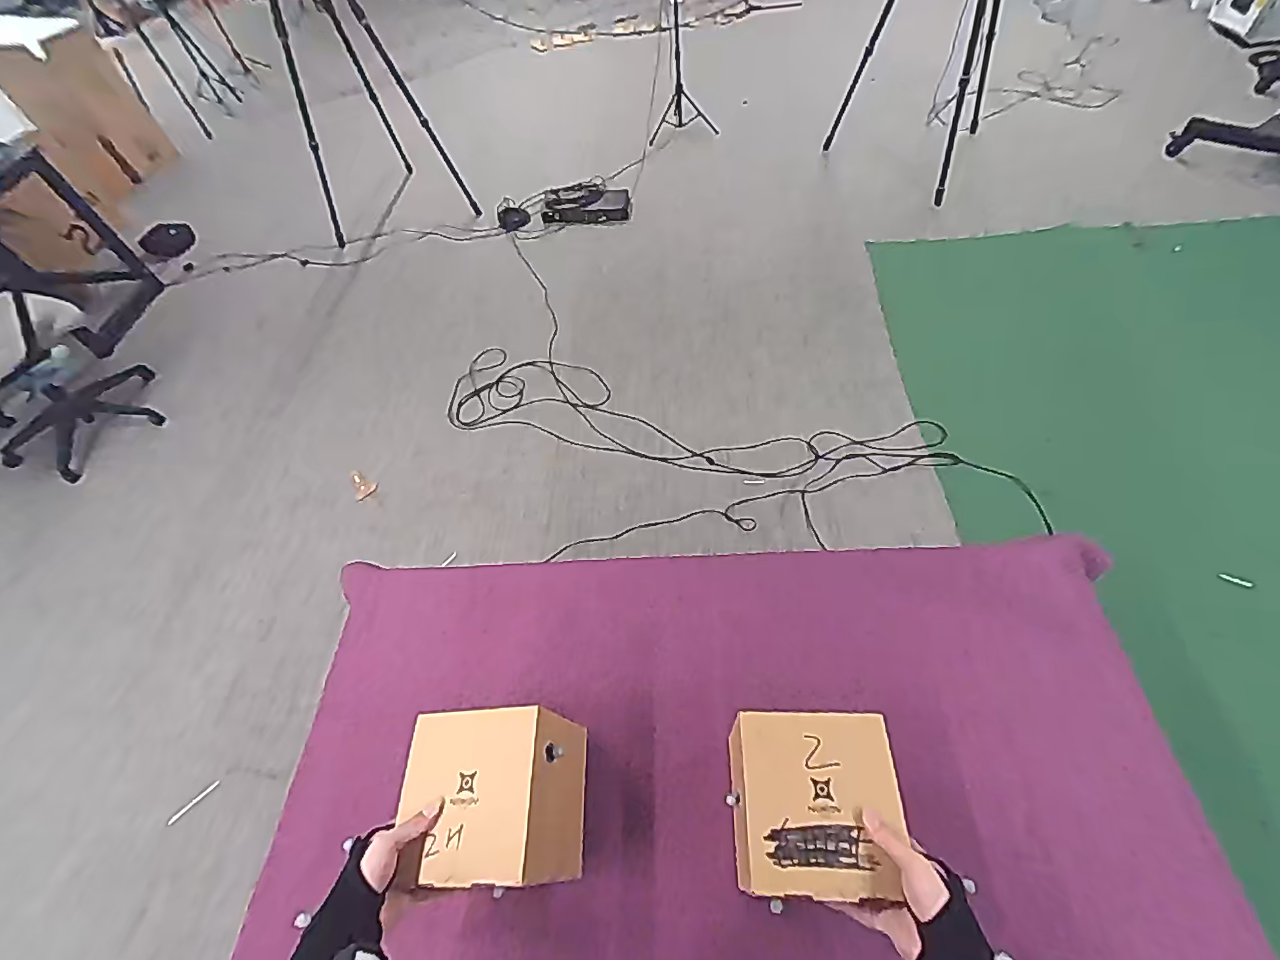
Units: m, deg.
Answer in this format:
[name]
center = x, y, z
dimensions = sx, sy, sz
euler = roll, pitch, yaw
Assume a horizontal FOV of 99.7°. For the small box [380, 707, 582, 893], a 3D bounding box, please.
[small box]
center = -0.176, 0.392, 0.664
dimensions = 0.168, 0.176, 0.179
euler = -9, 55, 13
